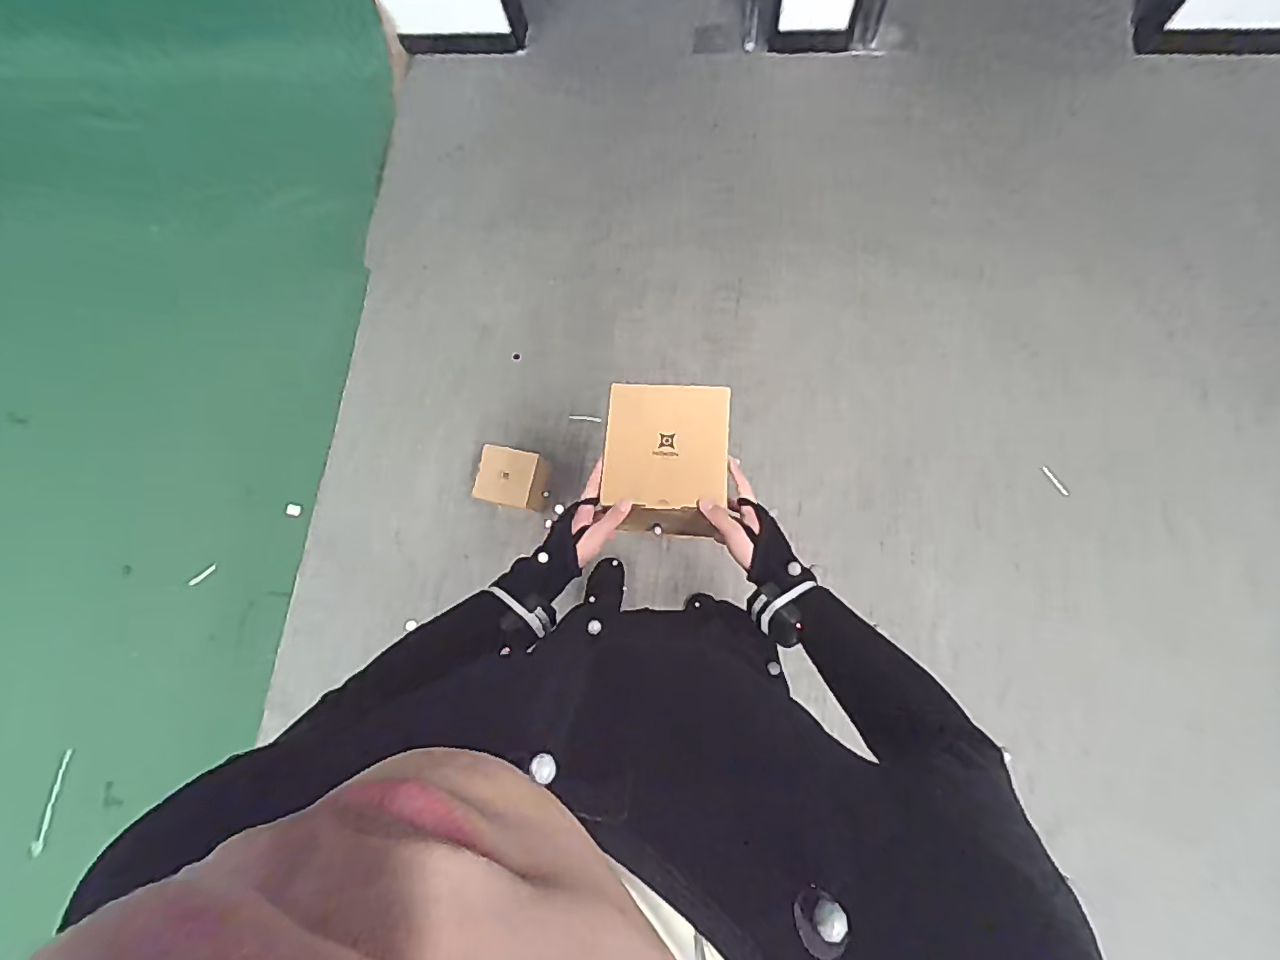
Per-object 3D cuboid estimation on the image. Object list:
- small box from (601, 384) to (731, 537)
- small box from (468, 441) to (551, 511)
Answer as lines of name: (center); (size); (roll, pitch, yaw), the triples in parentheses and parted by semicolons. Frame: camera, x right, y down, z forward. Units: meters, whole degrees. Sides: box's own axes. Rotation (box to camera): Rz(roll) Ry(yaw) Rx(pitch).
small box: (0.042, -0.022, 0.793); (0.168, 0.176, 0.179); (2, 74, 6)
small box: (-0.396, -0.006, 1.666); (0.179, 0.176, 0.168); (12, 82, 8)
